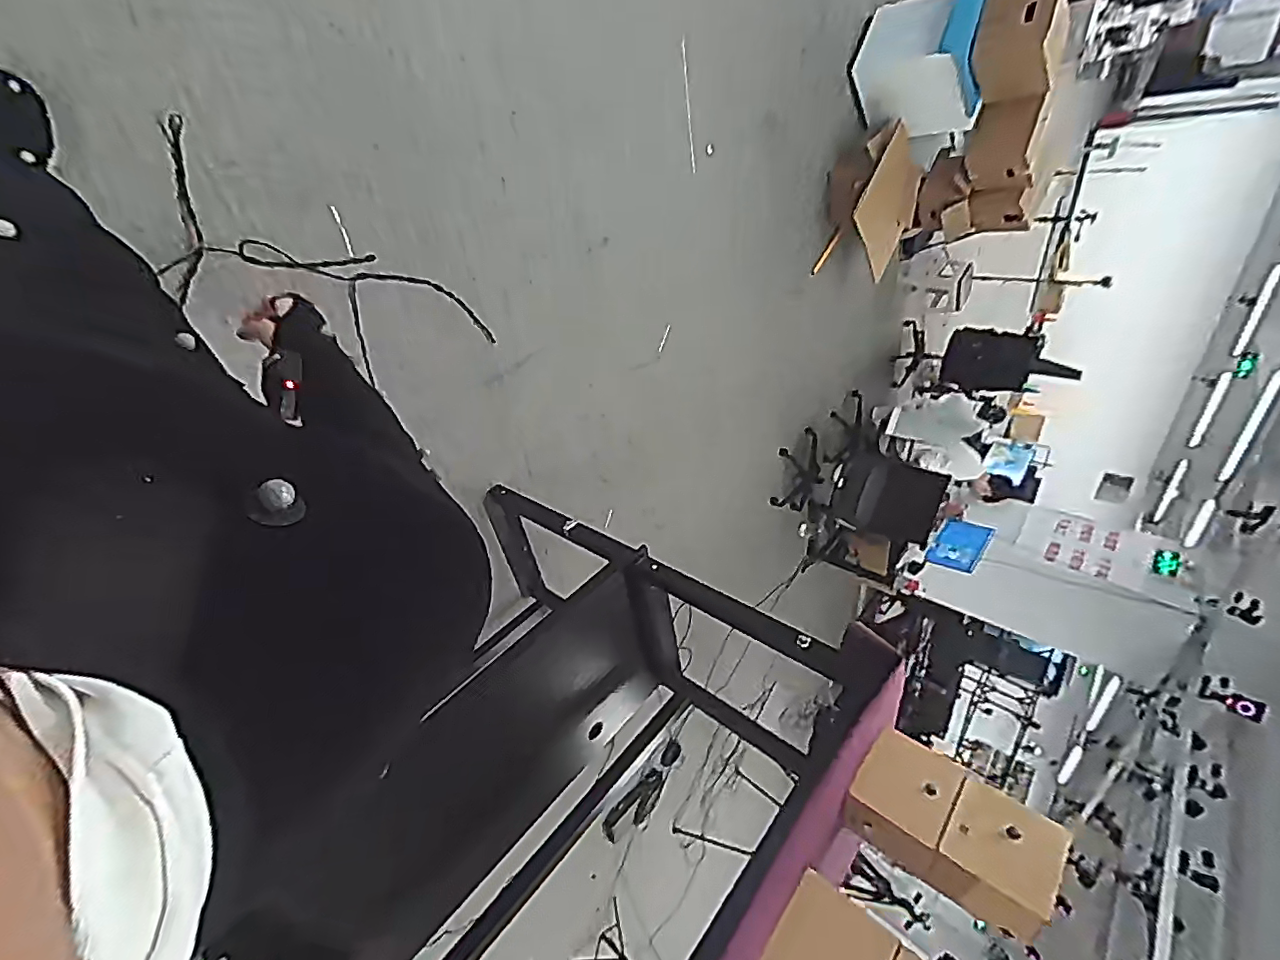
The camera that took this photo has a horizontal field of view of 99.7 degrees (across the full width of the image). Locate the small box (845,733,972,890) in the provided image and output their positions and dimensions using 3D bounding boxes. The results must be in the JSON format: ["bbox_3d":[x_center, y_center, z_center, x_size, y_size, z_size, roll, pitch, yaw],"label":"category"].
[{"bbox_3d":[0.530,0.649,1.078,0.179,0.176,0.168,-39,133,-31],"label":"small box"}]

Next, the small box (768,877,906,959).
[{"bbox_3d":[0.314,0.825,0.897,0.179,0.176,0.168,-37,132,-35],"label":"small box"}]

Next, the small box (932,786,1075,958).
[{"bbox_3d":[0.650,0.698,0.980,0.168,0.176,0.179,-41,134,-31],"label":"small box"}]
